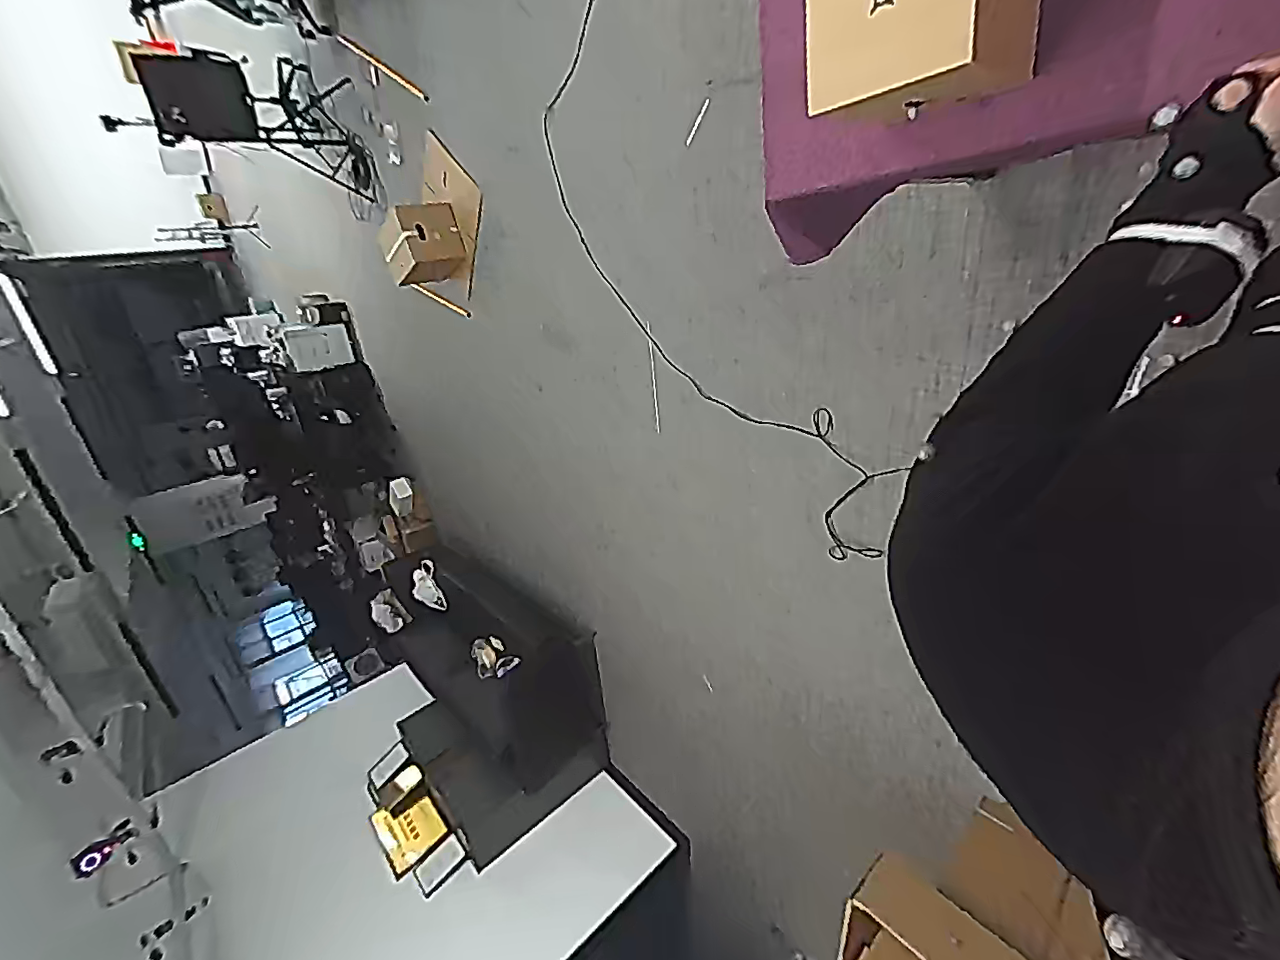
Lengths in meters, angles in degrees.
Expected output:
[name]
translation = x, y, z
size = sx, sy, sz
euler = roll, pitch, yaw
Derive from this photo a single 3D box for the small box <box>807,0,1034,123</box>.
[small box]
translation = 0.292, -0.489, 0.559
size = 0.168, 0.176, 0.179
euler = 16, 121, 46
